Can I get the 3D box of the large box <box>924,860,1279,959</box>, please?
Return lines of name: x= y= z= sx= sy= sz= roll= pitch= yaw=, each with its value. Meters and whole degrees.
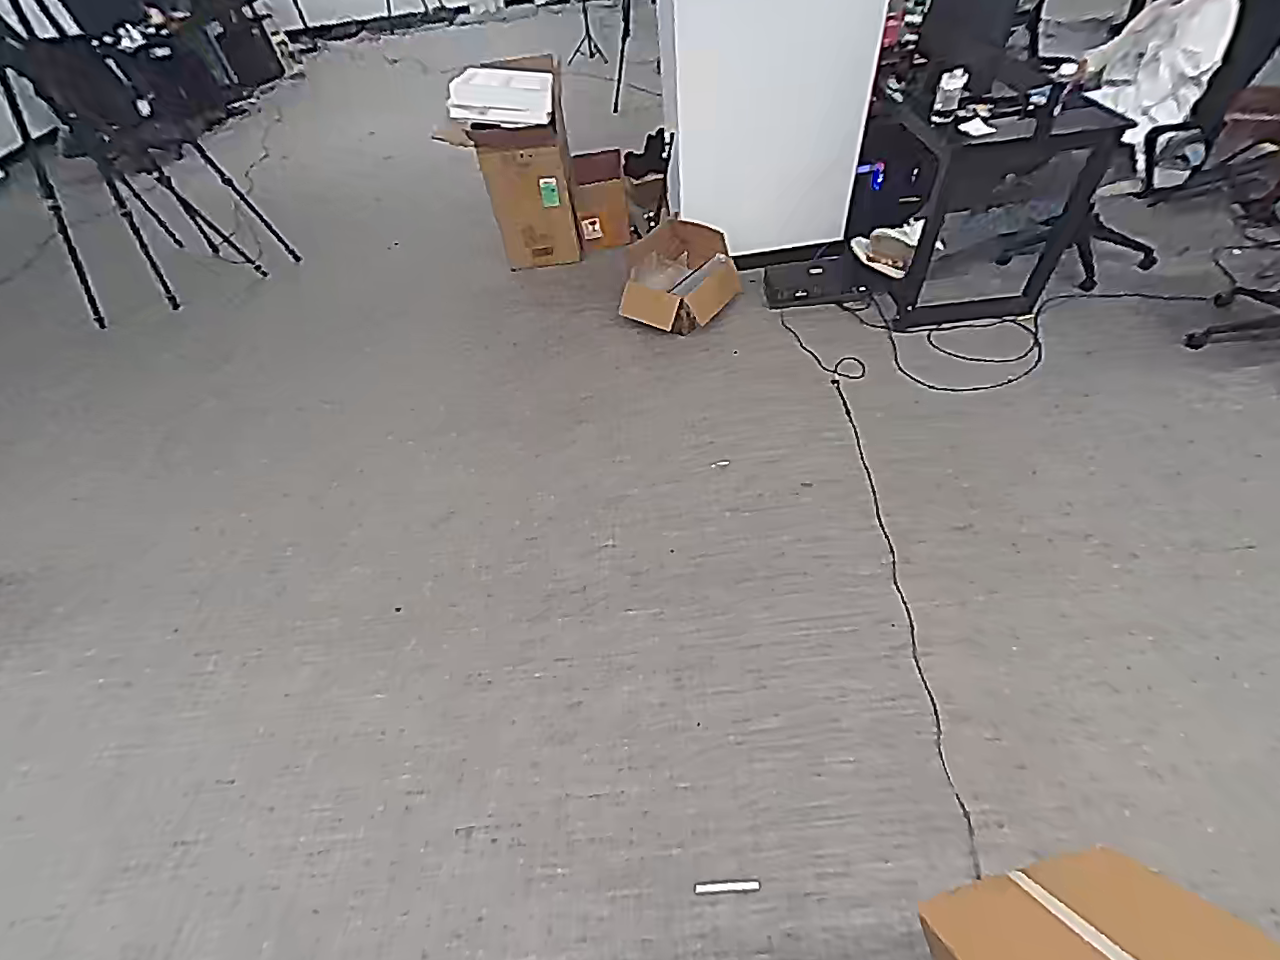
large box: x=0.599 y=0.713 z=0.584 sx=0.320 sy=0.408 sz=0.320 roll=-15 pitch=81 yaw=-3
